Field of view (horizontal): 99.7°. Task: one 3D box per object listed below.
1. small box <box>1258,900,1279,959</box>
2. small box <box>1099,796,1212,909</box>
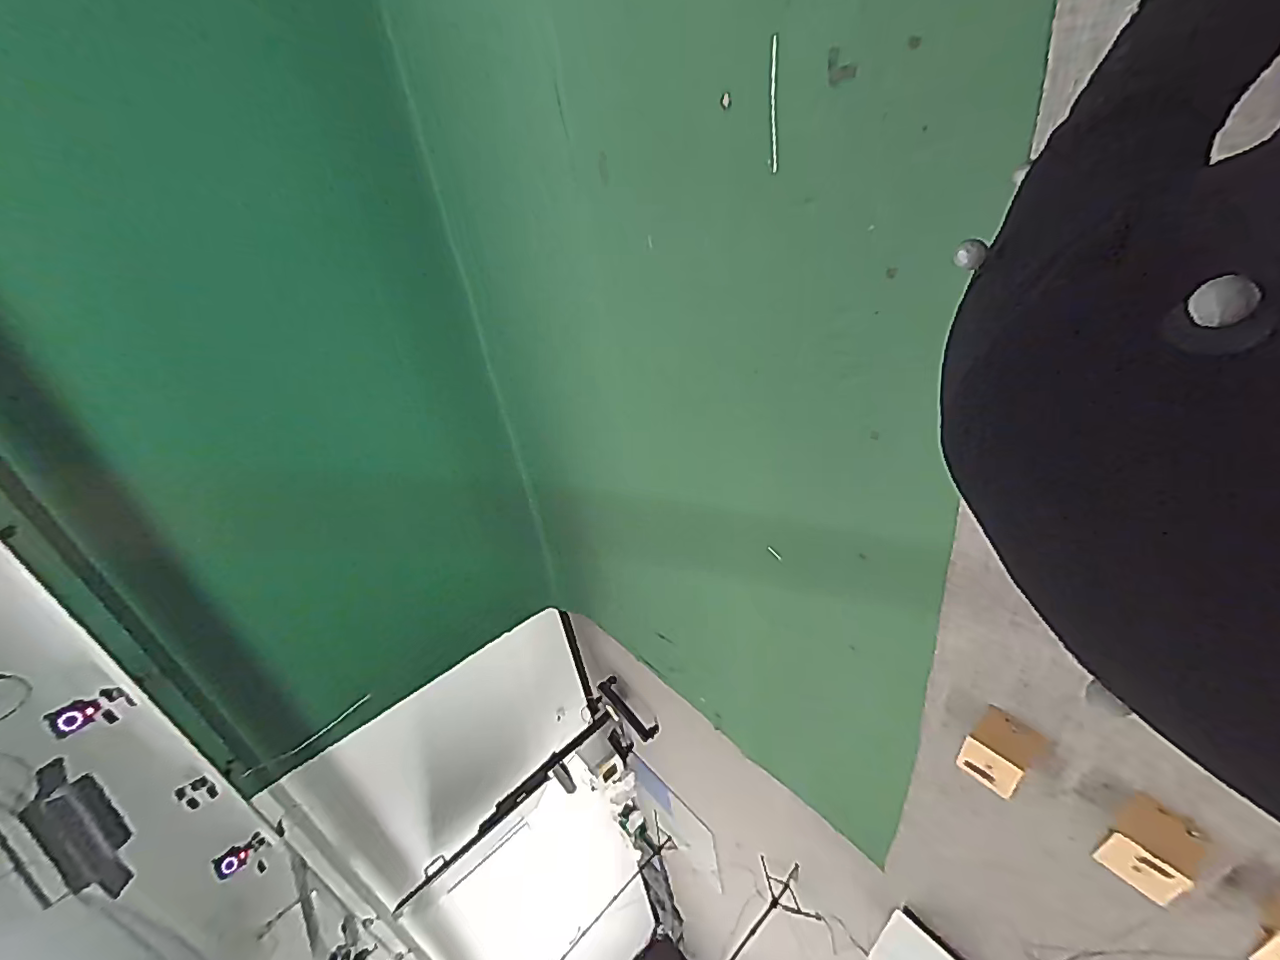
[{"bbox_3d":[1.644,1.130,1.290,0.168,0.176,0.179,26,135,44],"label":"small box"},{"bbox_3d":[1.443,1.034,1.512,0.168,0.176,0.179,33,141,40],"label":"small box"}]
